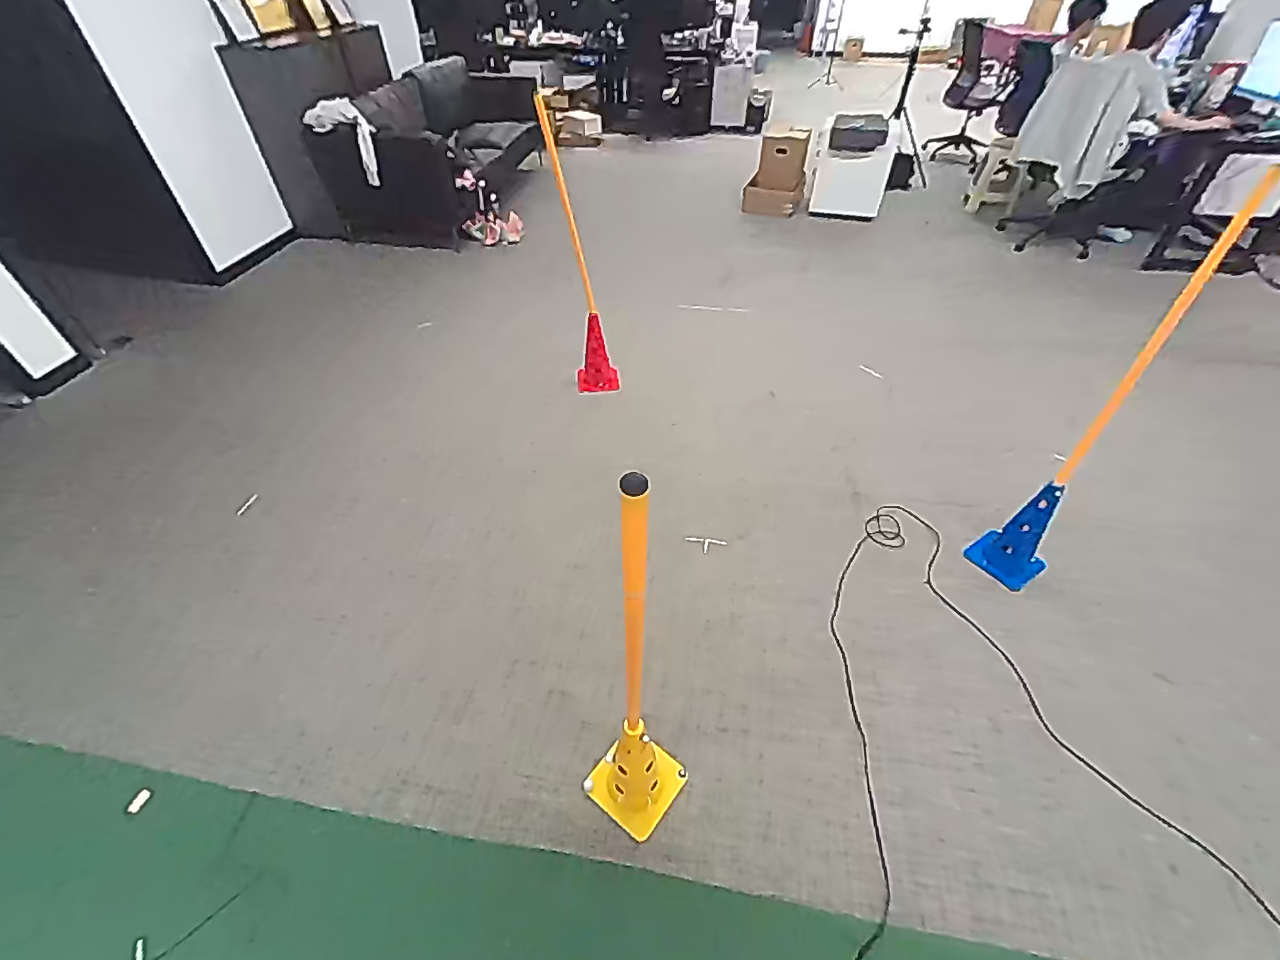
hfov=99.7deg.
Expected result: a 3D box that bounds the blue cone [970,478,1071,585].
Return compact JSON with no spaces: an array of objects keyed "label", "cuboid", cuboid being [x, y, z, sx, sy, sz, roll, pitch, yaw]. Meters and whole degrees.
[{"label":"blue cone","cuboid":[1.253,0.139,1.738,0.193,0.380,0.192,-25,49,-26]}]
